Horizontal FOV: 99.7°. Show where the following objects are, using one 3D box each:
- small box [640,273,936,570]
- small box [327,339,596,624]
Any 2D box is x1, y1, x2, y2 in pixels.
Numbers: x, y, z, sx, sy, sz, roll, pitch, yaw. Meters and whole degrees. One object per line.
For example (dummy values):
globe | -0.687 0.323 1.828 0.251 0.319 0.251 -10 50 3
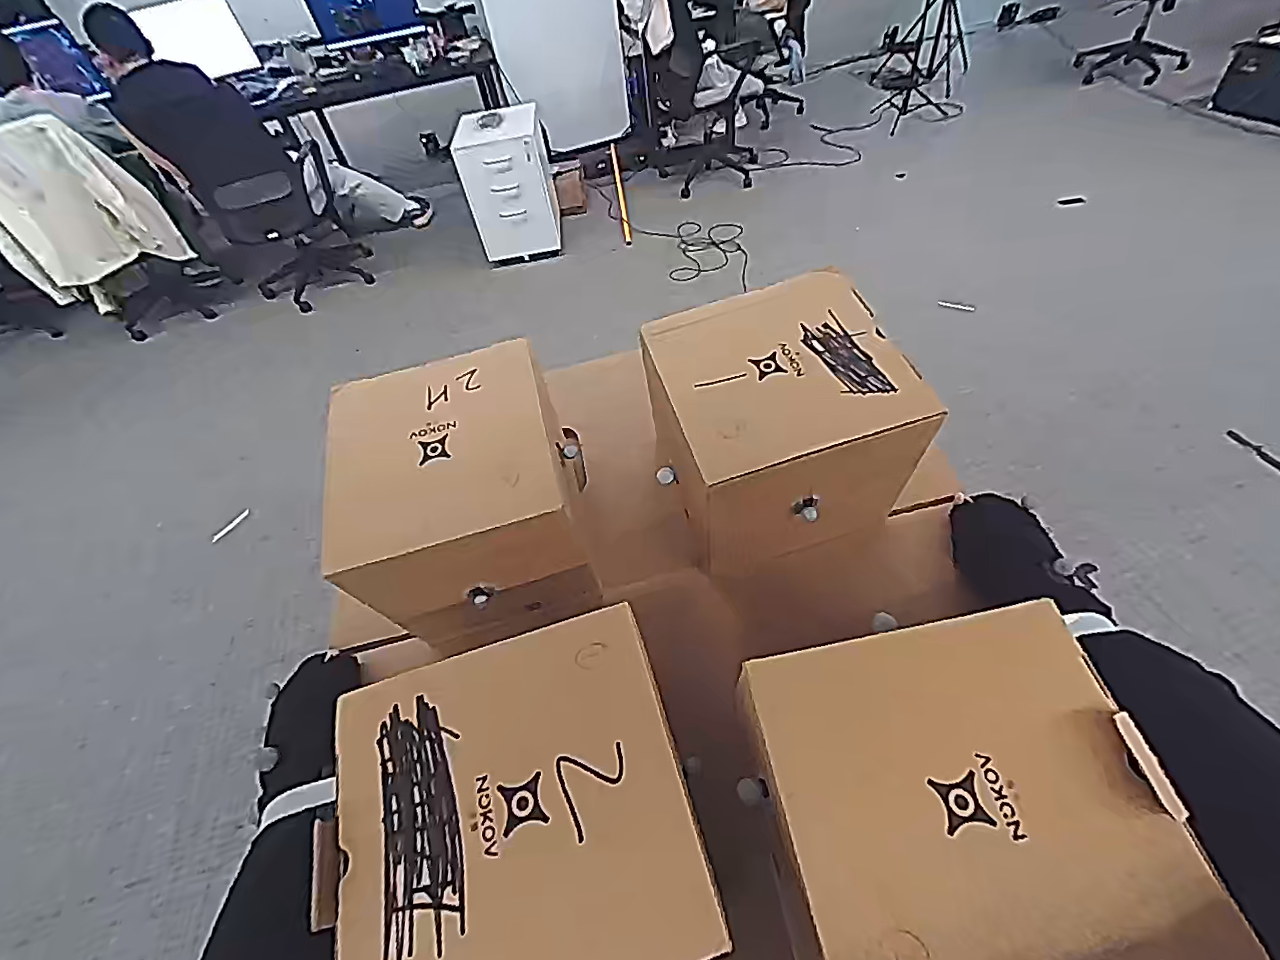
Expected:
small box | 0.111 -0.043 0.477 0.179 0.176 0.168 -18 58 -2
small box | -0.143 0.013 0.477 0.168 0.176 0.179 -15 58 -3
